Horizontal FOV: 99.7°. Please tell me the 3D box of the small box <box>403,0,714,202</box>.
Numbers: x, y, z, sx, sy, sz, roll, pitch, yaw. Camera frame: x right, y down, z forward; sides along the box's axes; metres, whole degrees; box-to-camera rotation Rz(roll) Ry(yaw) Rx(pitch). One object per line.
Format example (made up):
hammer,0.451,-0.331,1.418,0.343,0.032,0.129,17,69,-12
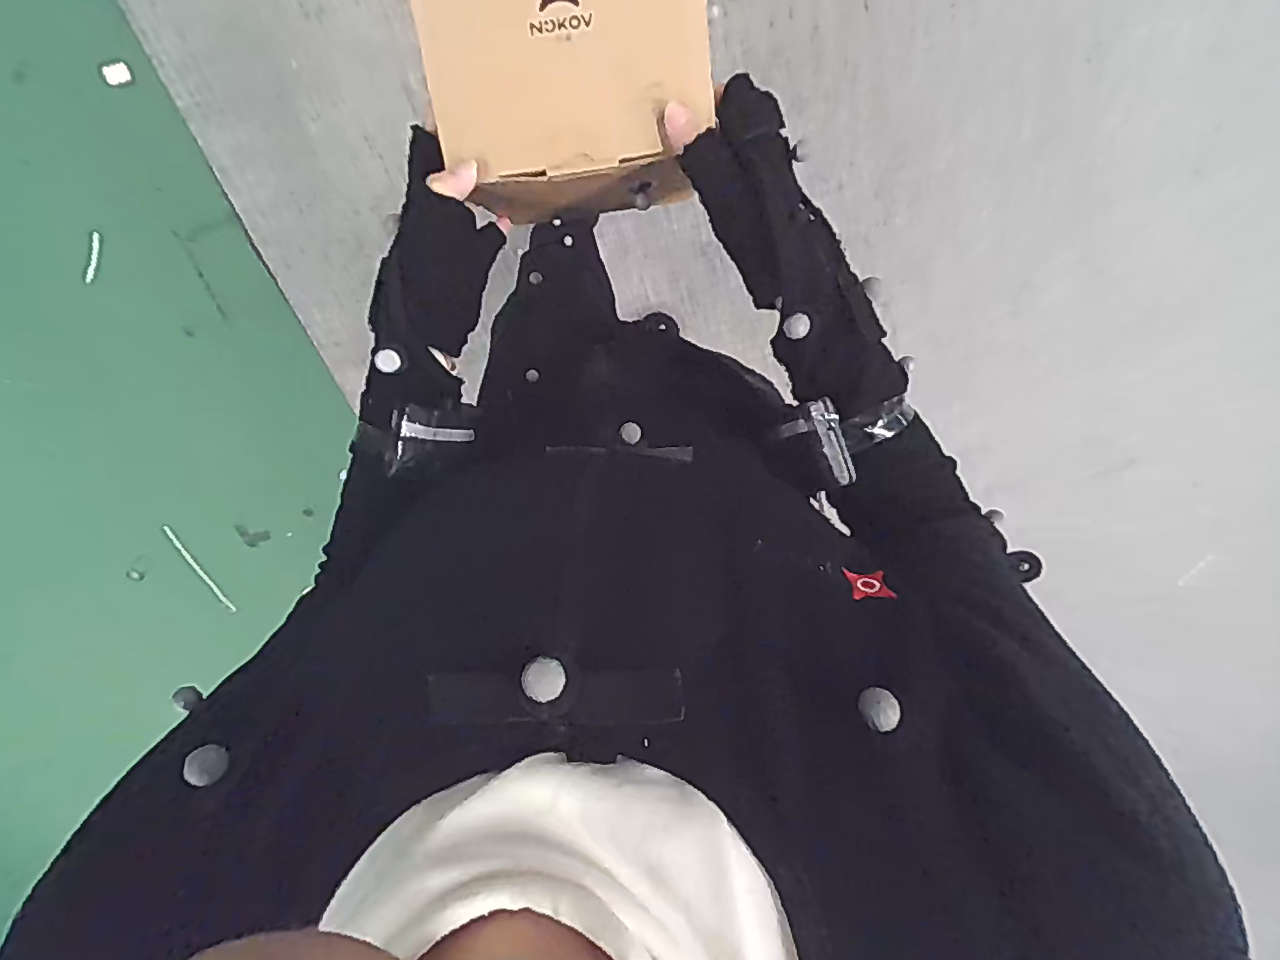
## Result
small box,-0.048,-0.302,0.367,0.168,0.176,0.179,-10,108,5
